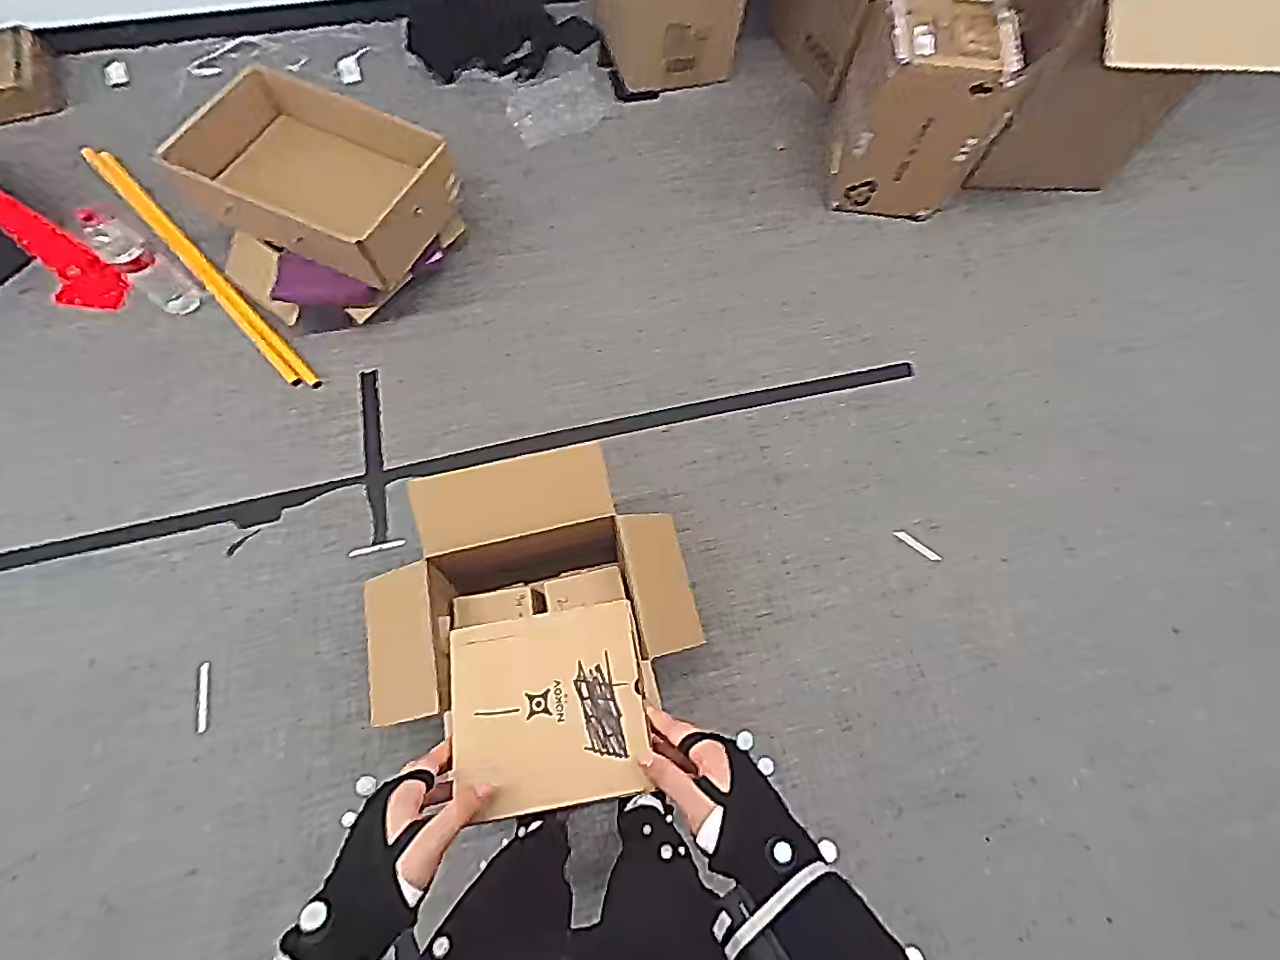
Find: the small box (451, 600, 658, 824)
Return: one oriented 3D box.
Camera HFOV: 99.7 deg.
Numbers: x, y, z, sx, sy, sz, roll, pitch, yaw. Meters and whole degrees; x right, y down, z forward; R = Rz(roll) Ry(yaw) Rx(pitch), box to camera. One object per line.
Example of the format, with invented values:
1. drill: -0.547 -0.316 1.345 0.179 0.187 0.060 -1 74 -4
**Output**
1. small box: -0.080 0.236 0.562 0.179 0.176 0.168 -10 64 -2
